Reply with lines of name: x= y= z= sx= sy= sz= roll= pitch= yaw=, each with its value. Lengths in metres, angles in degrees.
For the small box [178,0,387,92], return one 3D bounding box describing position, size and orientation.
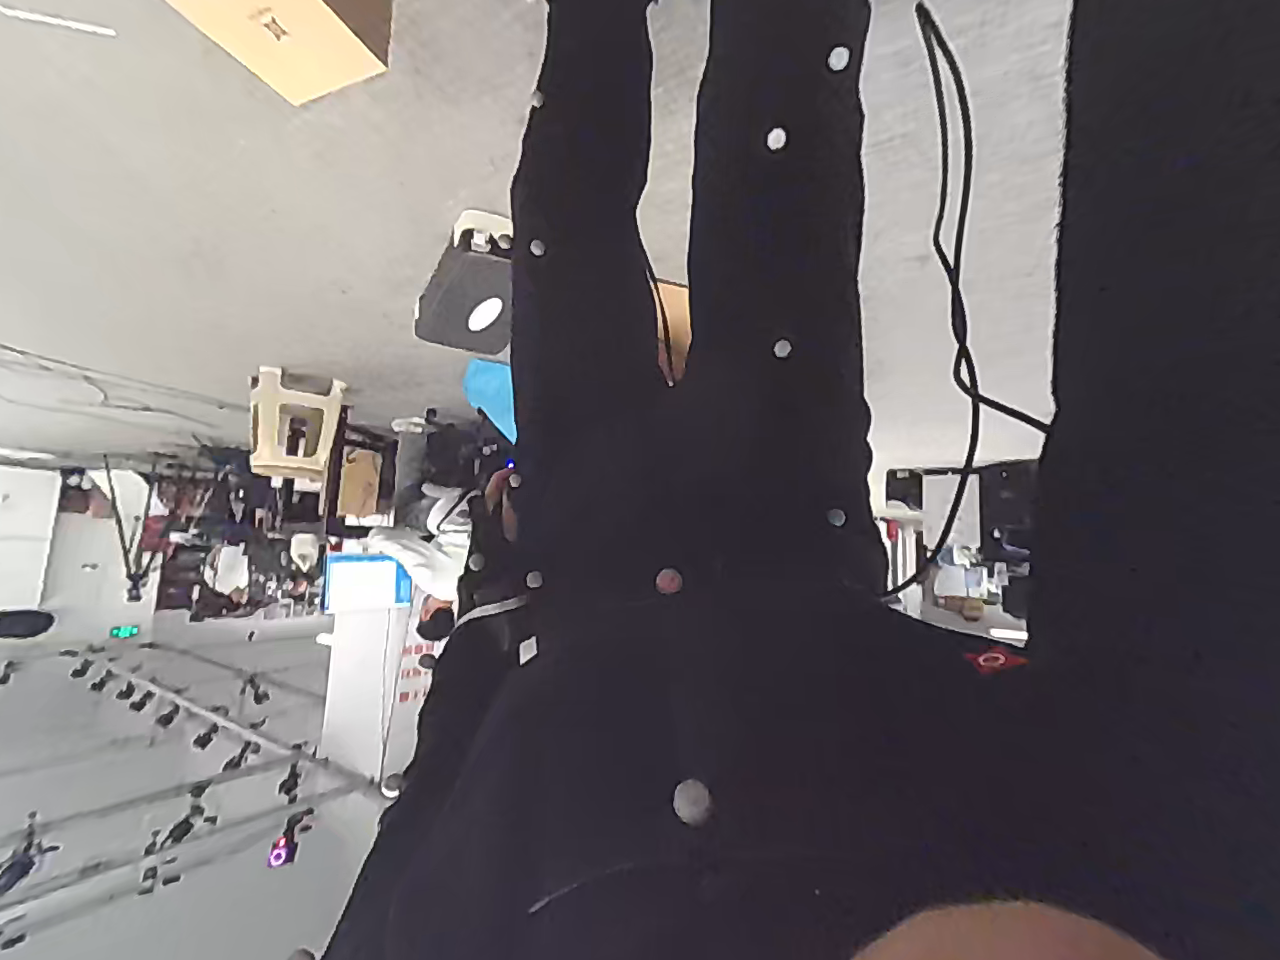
small box: x=-0.400 y=-0.589 z=0.597 sx=0.168 sy=0.176 sz=0.179 roll=0 pitch=172 yaw=21
